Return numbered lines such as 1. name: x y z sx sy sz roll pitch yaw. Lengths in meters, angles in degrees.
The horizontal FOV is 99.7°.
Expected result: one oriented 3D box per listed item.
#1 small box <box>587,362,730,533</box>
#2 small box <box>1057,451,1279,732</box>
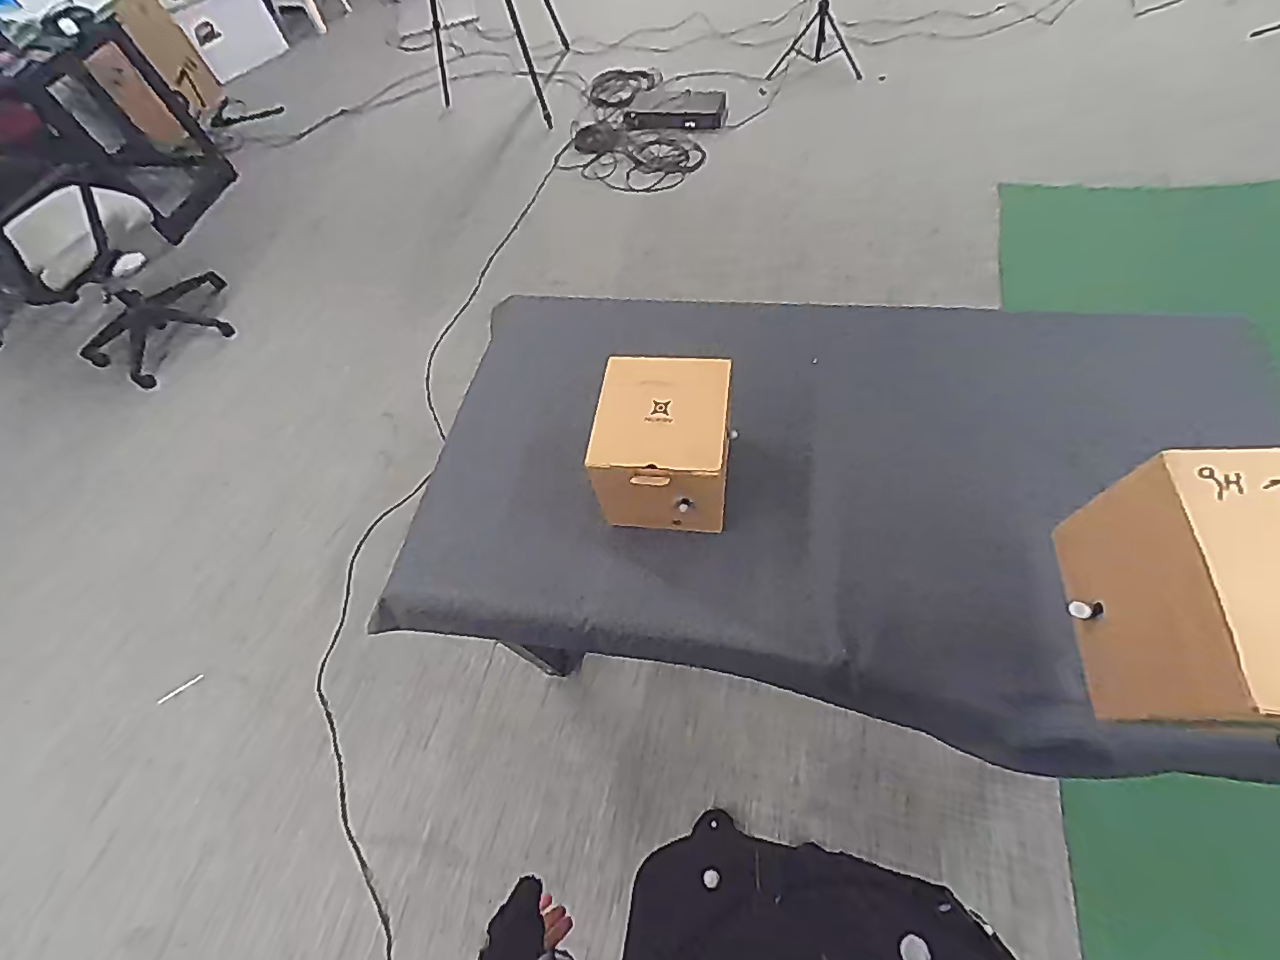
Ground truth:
1. small box: 0.036 -0.040 0.742 0.168 0.176 0.179 3 59 10
2. small box: 0.459 0.092 0.404 0.168 0.176 0.179 -1 65 11
